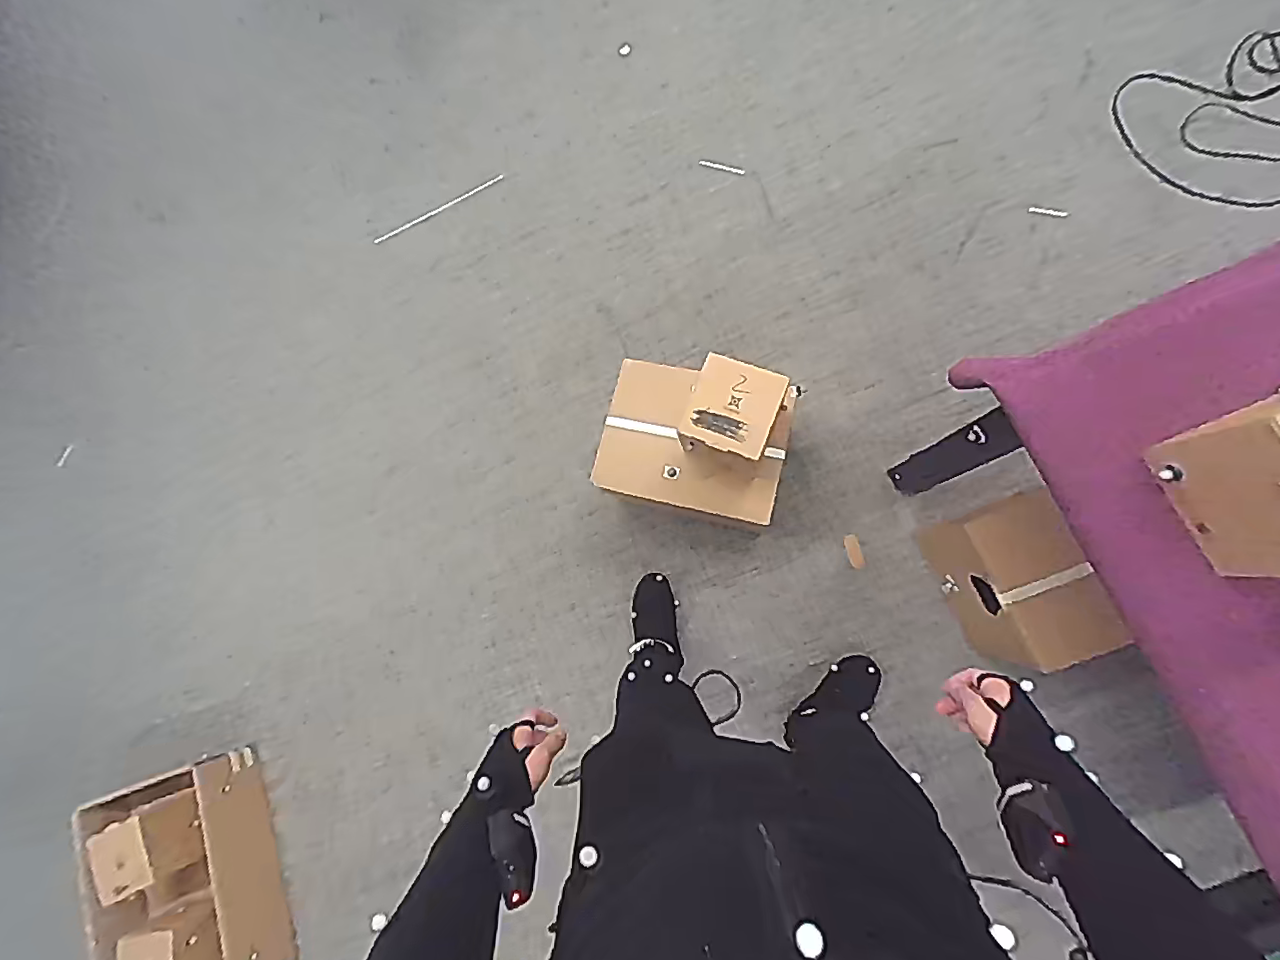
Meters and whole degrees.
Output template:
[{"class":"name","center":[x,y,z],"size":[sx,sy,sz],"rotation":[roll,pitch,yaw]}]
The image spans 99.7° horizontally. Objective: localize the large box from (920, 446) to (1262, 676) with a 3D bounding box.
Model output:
[{"class":"large box","center":[0.911,0.176,1.167],"size":[0.408,0.320,0.320],"rotation":[-23,79,5]}]

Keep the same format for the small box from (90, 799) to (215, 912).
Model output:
[{"class":"small box","center":[-1.301,0.992,1.452],"size":[0.168,0.176,0.179],"rotation":[-27,78,4]}]

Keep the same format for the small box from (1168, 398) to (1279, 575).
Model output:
[{"class":"small box","center":[0.708,-0.007,0.549],"size":[0.179,0.176,0.168],"rotation":[-24,78,4]}]
